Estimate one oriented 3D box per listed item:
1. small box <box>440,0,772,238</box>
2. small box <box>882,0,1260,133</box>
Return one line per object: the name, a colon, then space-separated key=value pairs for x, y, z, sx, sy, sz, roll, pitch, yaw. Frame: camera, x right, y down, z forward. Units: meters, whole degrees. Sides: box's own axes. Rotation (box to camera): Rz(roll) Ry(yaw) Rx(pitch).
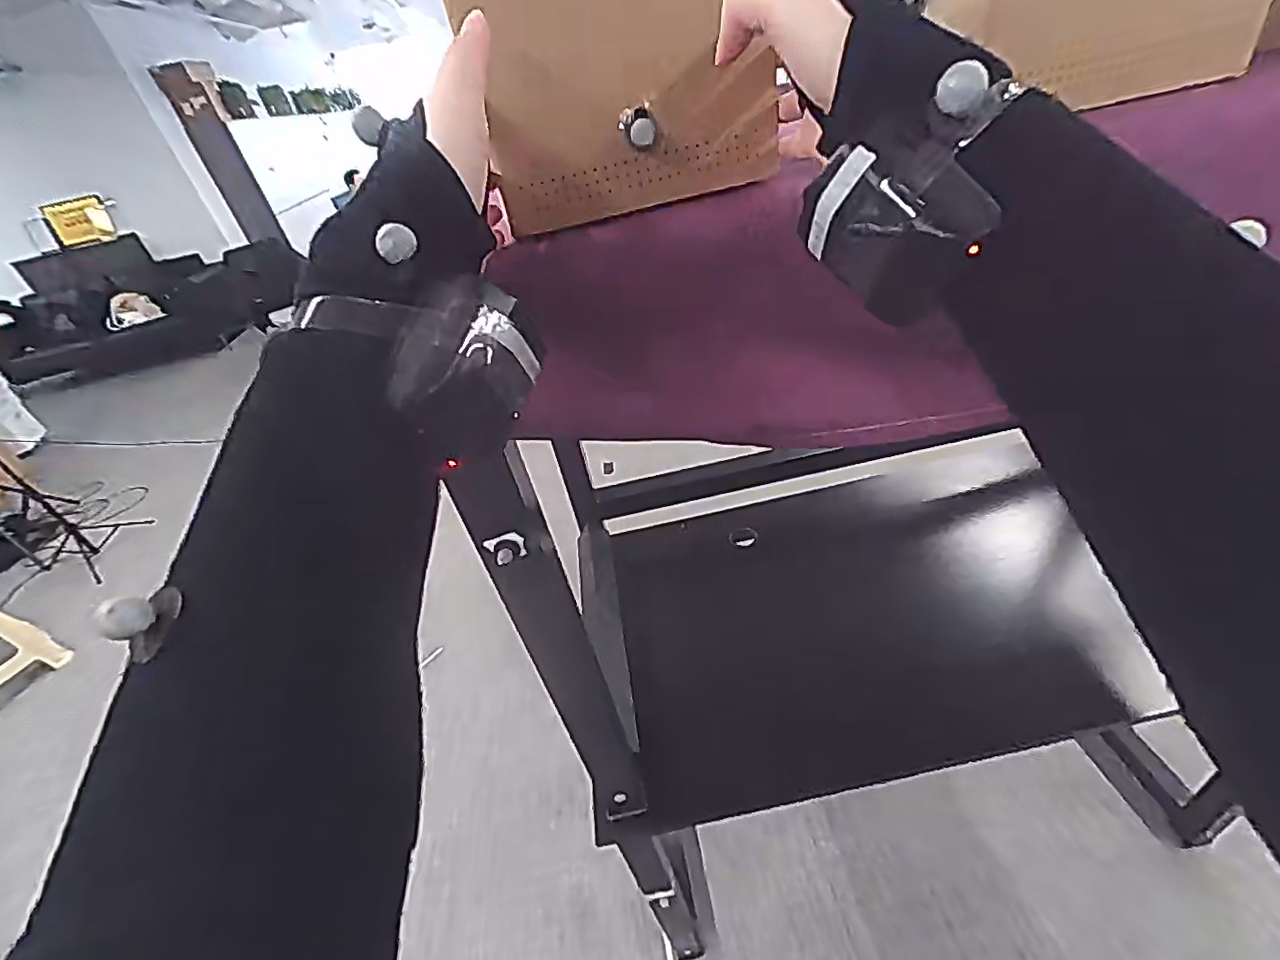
small box: x=-0.026 y=-0.271 z=0.346 sx=0.179 sy=0.176 sz=0.168 roll=-16 pitch=34 yaw=-6
small box: x=0.278 y=-0.347 z=0.361 sx=0.179 sy=0.176 sz=0.168 roll=-11 pitch=36 yaw=3
